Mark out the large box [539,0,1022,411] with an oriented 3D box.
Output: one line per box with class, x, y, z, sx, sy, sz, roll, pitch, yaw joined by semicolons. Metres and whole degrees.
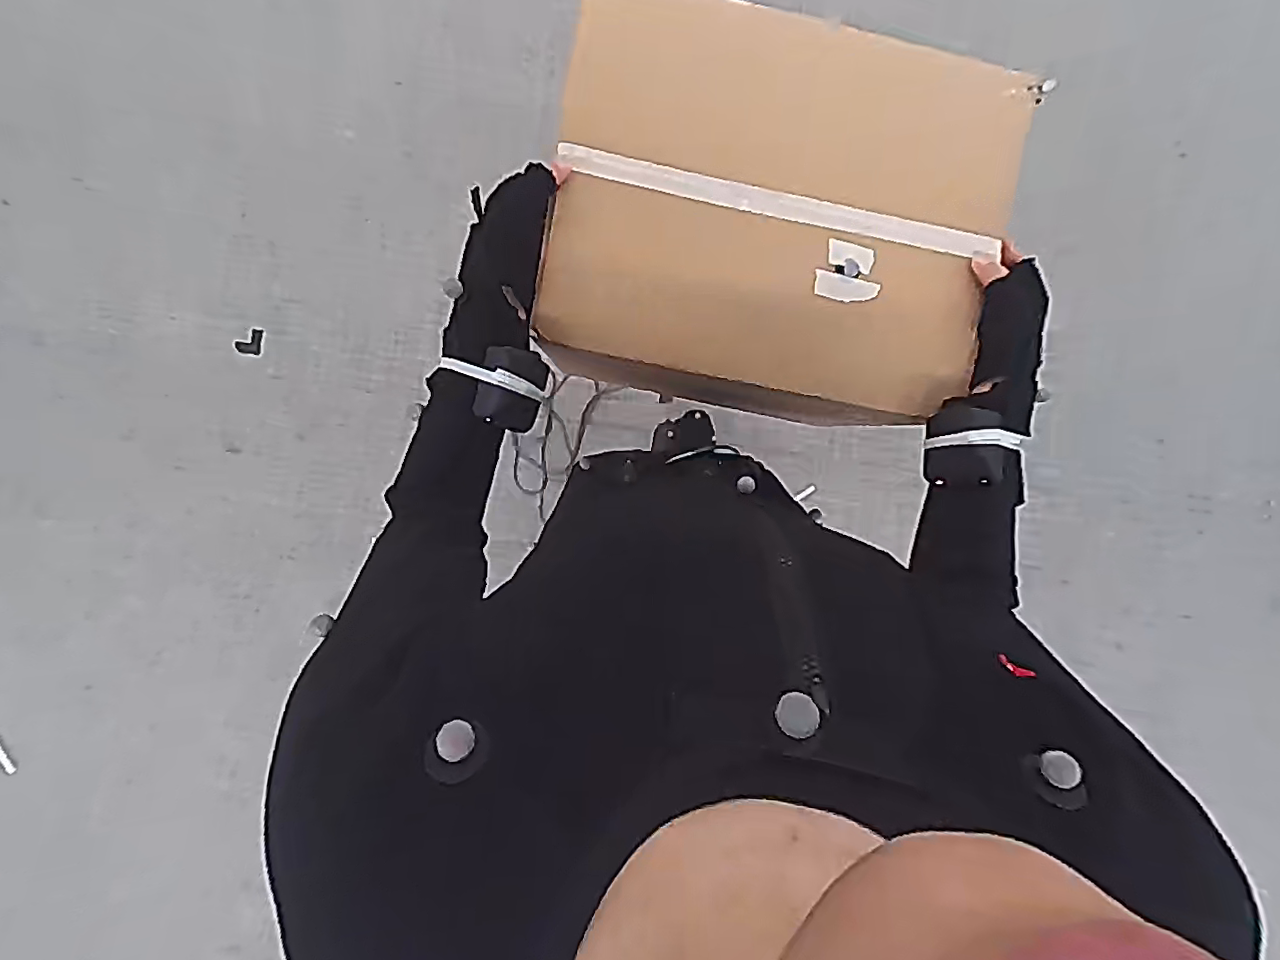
large box;0.116;-0.270;0.635;0.408;0.320;0.320;11;96;-5
